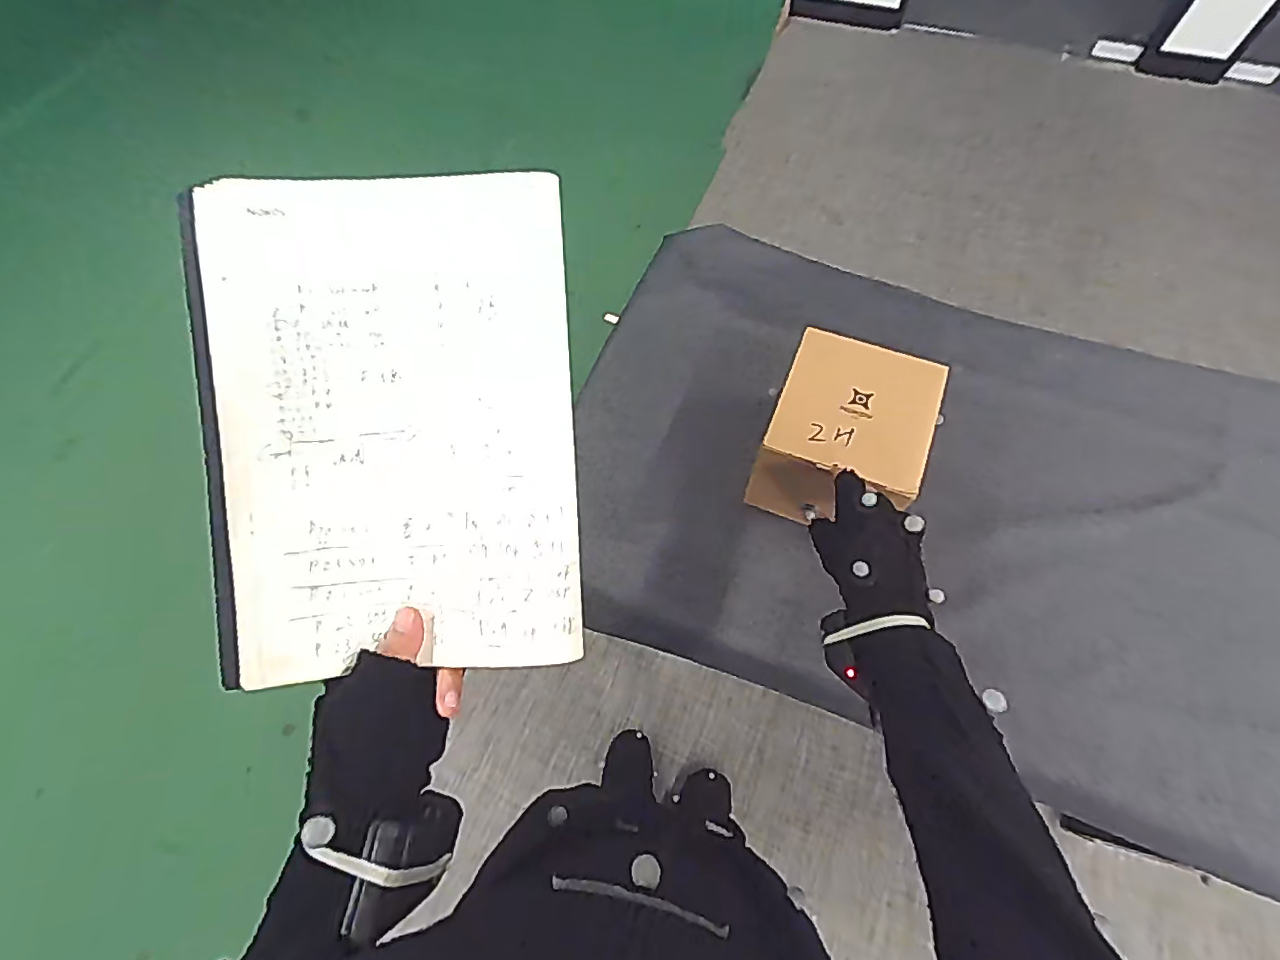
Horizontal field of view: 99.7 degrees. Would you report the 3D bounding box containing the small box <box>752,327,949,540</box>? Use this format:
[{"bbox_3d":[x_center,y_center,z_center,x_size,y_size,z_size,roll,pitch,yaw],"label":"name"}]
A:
[{"bbox_3d":[0.249,-0.051,0.672,0.168,0.176,0.179,20,69,12],"label":"small box"}]
